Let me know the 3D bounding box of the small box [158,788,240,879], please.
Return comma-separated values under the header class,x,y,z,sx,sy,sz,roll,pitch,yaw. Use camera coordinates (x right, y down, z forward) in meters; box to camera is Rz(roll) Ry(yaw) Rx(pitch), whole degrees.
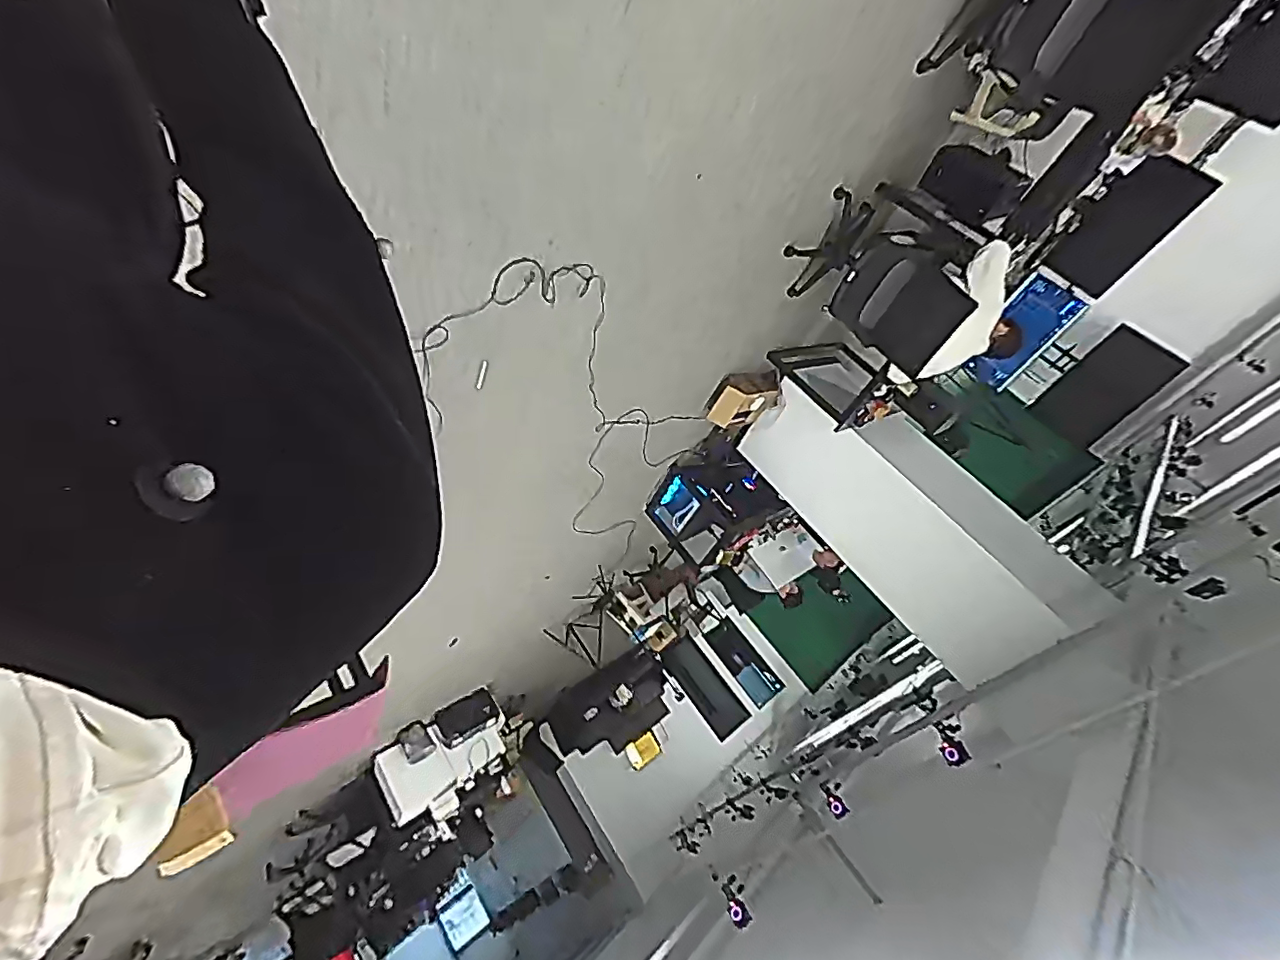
class,x,y,z,sx,sy,sz,roll,pitch,yaw
small box,-1.455,1.162,1.783,0.179,0.176,0.168,-18,150,-39
